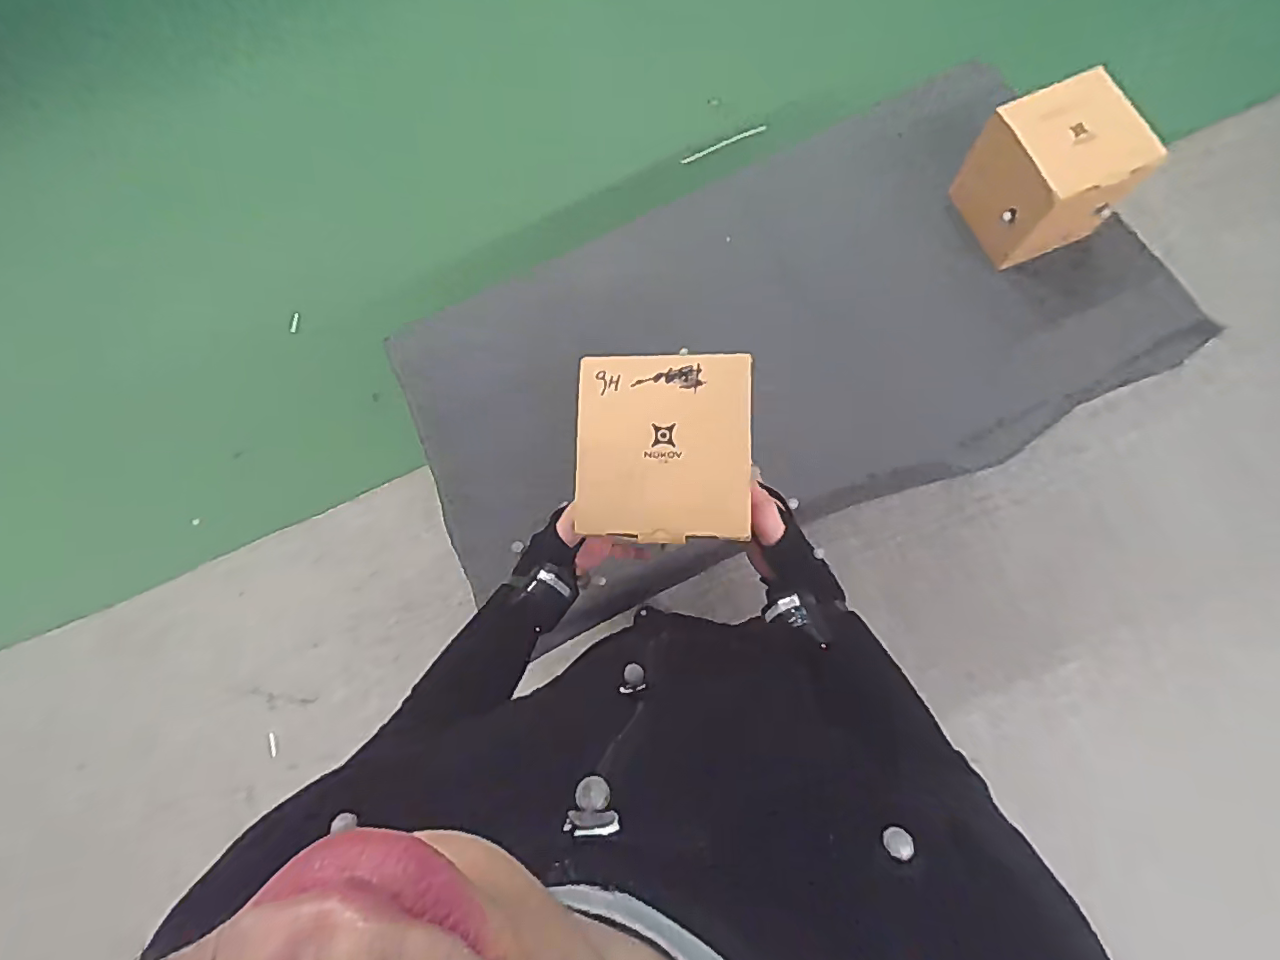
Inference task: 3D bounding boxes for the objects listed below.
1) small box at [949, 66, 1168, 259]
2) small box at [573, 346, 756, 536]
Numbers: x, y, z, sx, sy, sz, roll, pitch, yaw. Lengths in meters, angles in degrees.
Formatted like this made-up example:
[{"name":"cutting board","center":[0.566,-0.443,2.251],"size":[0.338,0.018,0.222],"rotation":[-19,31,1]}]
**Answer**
[{"name":"small box","center":[0.627,-0.474,0.838],"size":[0.168,0.176,0.179],"rotation":[-22,74,0]},{"name":"small box","center":[0.032,-0.031,0.574],"size":[0.168,0.176,0.179],"rotation":[1,83,7]}]
